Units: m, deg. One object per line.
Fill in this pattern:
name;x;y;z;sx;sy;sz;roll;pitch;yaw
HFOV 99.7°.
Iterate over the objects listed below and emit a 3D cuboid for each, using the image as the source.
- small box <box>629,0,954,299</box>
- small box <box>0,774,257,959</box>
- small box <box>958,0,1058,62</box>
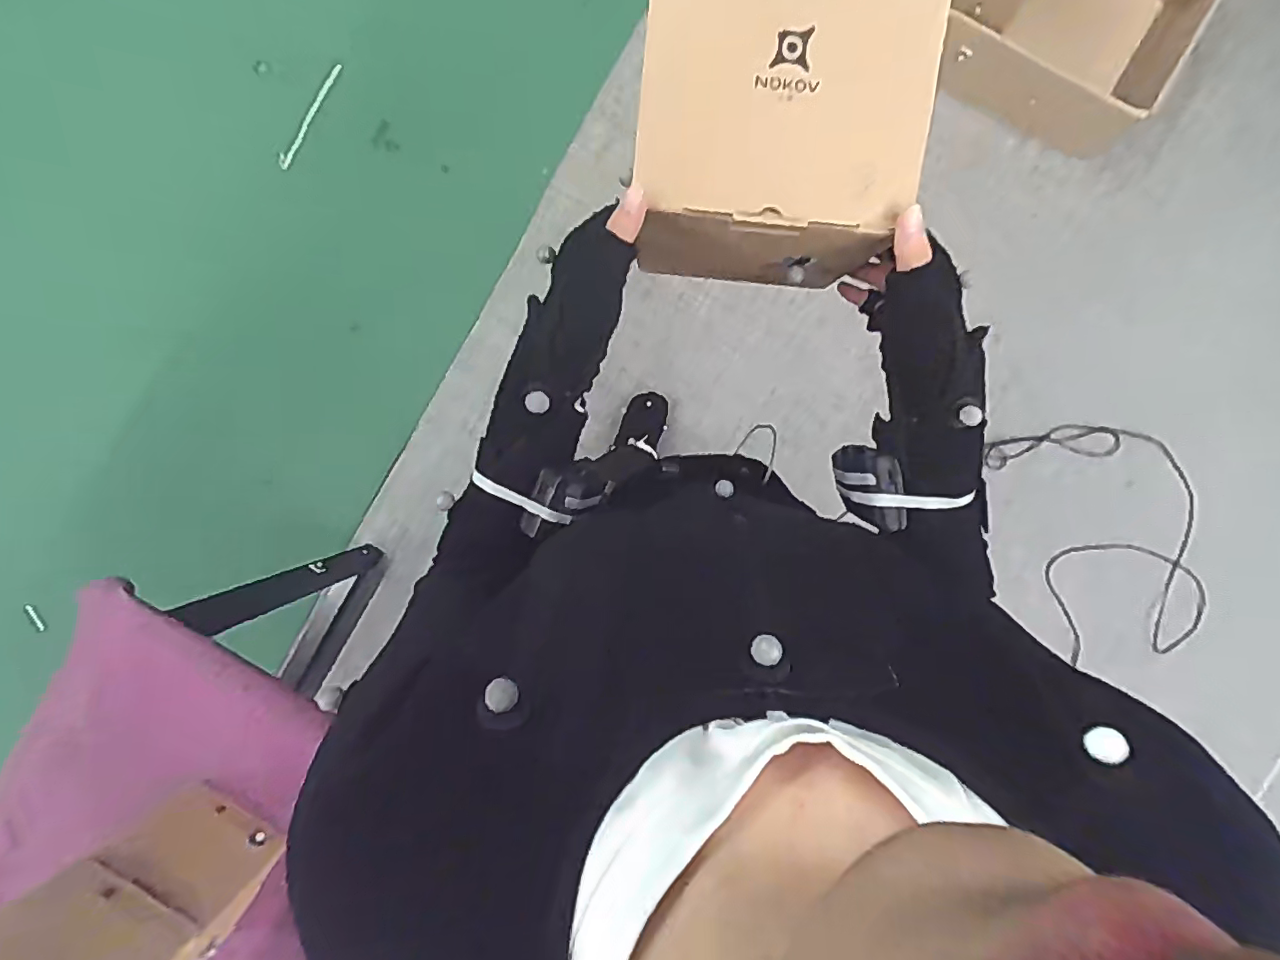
small box;0.088;-0.237;0.385;0.168;0.176;0.179;7;98;0
small box;-0.653;0.533;0.704;0.168;0.176;0.179;38;92;2
small box;0.903;-1.163;1.283;0.168;0.176;0.179;32;92;0
